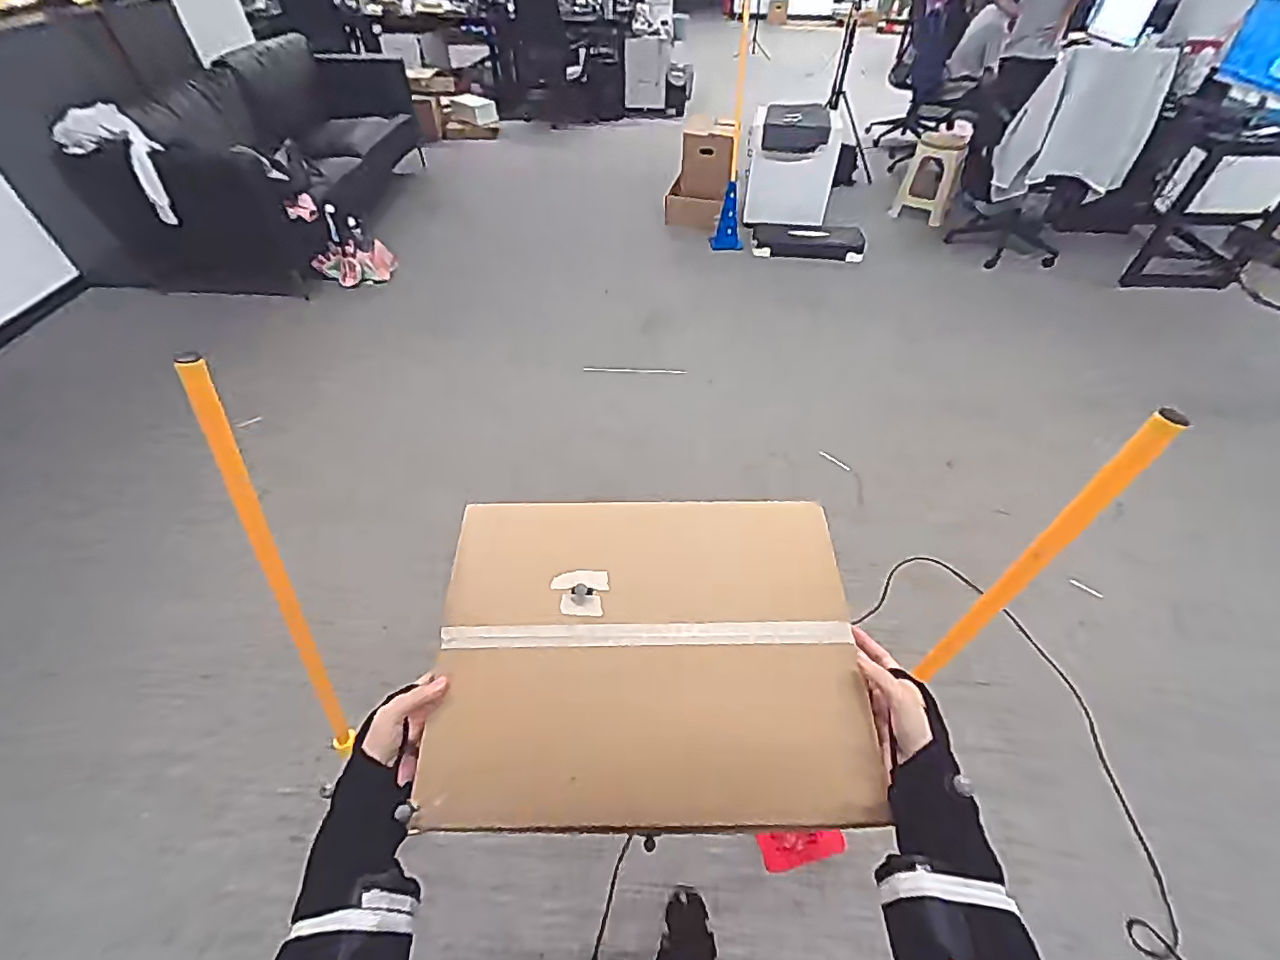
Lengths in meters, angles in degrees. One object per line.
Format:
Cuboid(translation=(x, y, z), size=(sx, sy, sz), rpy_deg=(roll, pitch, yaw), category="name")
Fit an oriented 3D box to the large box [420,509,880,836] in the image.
Cuboid(translation=(0.010, 0.249, 0.667), size=(0.408, 0.320, 0.320), rpy_deg=(-1, 54, 1), category="large box")
